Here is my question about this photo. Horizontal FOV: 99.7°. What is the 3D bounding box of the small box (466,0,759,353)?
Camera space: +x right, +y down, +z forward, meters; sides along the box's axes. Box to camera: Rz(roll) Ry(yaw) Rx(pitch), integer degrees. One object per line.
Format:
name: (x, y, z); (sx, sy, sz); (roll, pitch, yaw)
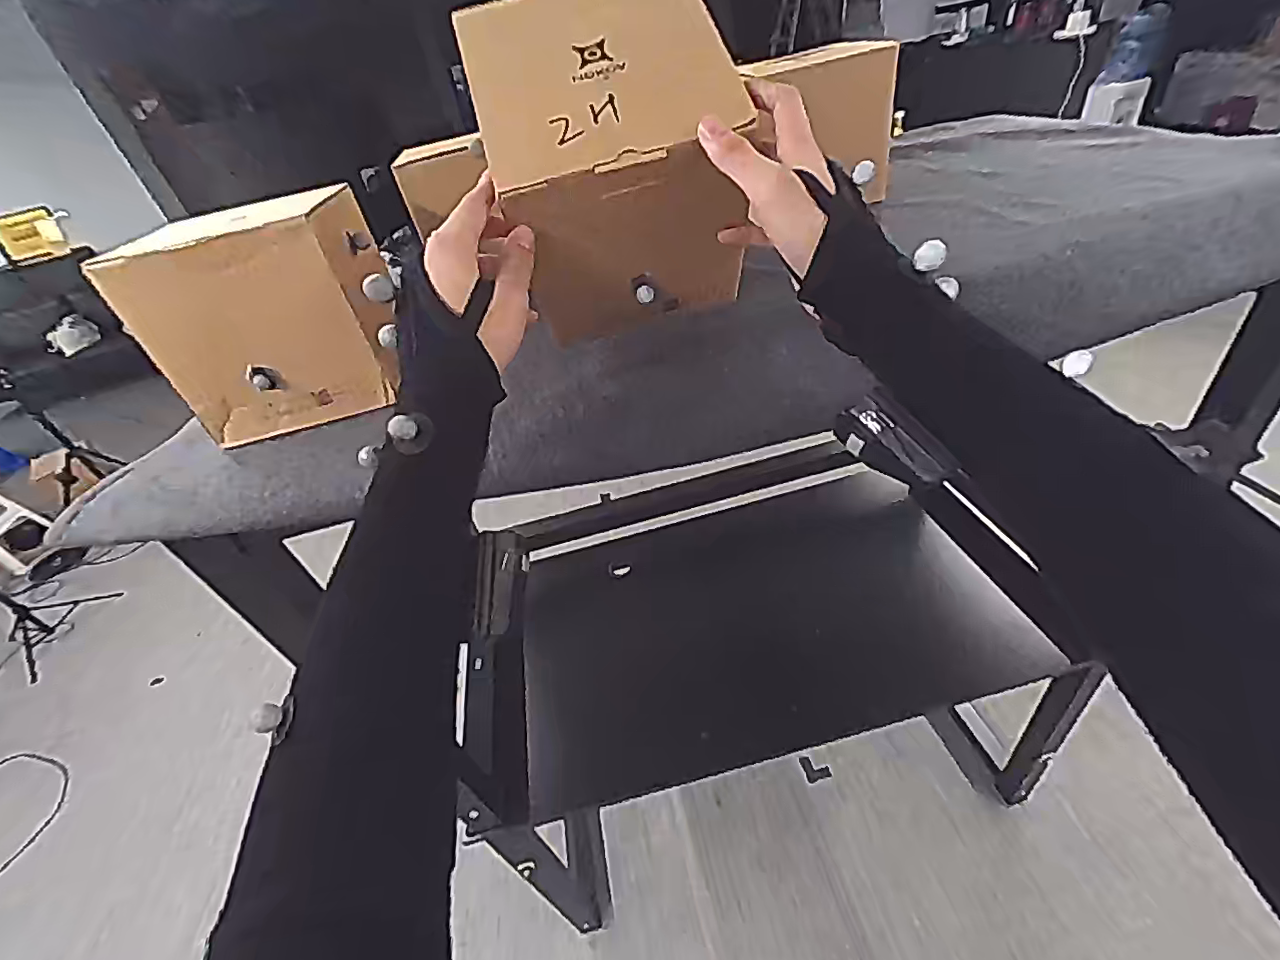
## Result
small box: (-0.021, -0.234, 0.434); (0.168, 0.176, 0.179); (-16, 70, -2)

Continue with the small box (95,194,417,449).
small box: (-0.330, -0.155, 0.517); (0.168, 0.176, 0.179); (-16, 38, -5)

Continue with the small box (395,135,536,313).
small box: (-0.191, -0.341, 0.708); (0.179, 0.176, 0.168); (-17, 38, -6)
